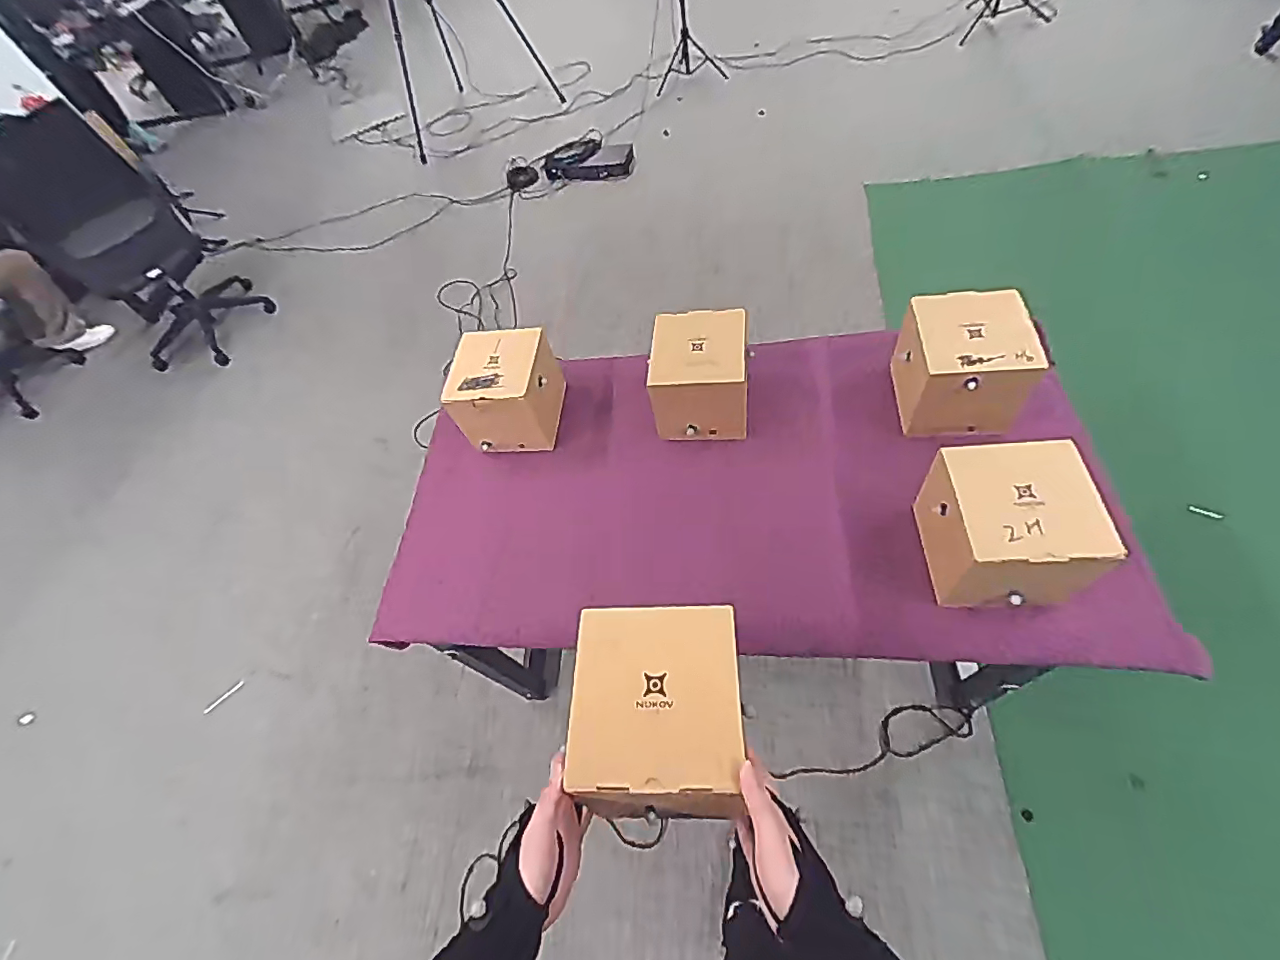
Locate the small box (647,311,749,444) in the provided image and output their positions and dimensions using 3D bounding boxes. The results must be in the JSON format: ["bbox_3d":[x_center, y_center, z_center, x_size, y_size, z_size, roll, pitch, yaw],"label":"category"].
[{"bbox_3d":[0.114,-0.186,0.998,0.168,0.176,0.179,1,60,12],"label":"small box"}]

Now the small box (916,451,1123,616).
[{"bbox_3d":[0.507,0.079,0.758,0.168,0.176,0.179,-2,59,10],"label":"small box"}]

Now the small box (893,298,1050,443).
[{"bbox_3d":[0.542,-0.181,0.915,0.168,0.176,0.179,-1,59,11],"label":"small box"}]

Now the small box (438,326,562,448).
[{"bbox_3d":[-0.260,-0.174,1.052,0.168,0.176,0.179,0,60,10],"label":"small box"}]

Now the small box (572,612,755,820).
[{"bbox_3d":[0.028,0.259,0.589,0.168,0.176,0.179,-3,54,5],"label":"small box"}]
